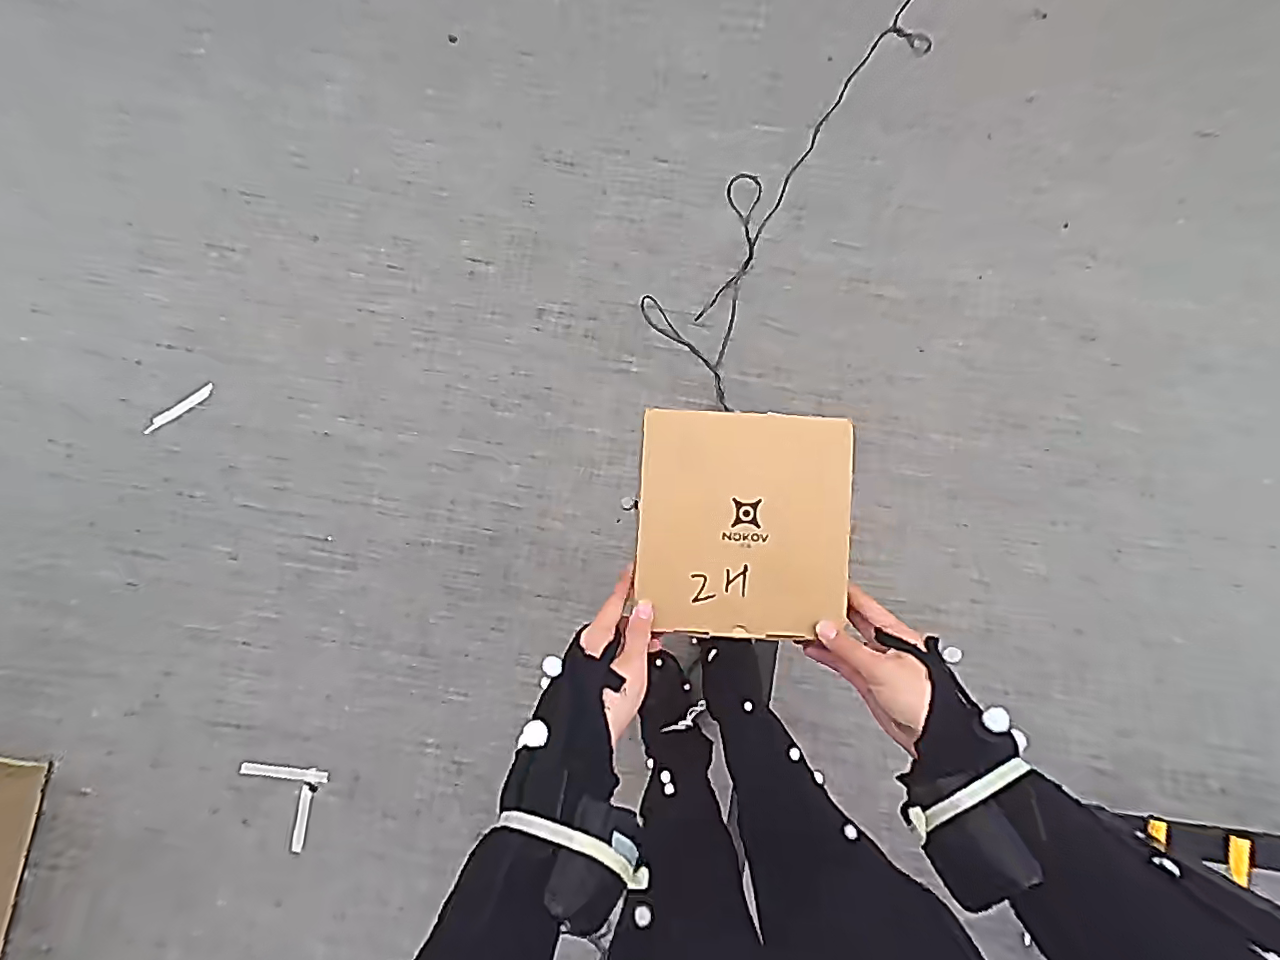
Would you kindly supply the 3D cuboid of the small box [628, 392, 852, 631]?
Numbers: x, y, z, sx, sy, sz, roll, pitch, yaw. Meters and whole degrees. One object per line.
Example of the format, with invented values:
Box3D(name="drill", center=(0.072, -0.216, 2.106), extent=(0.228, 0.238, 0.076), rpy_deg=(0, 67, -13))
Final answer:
Box3D(name="small box", center=(0.077, 0.027, 0.495), extent=(0.168, 0.176, 0.179), rpy_deg=(4, 88, 0))
